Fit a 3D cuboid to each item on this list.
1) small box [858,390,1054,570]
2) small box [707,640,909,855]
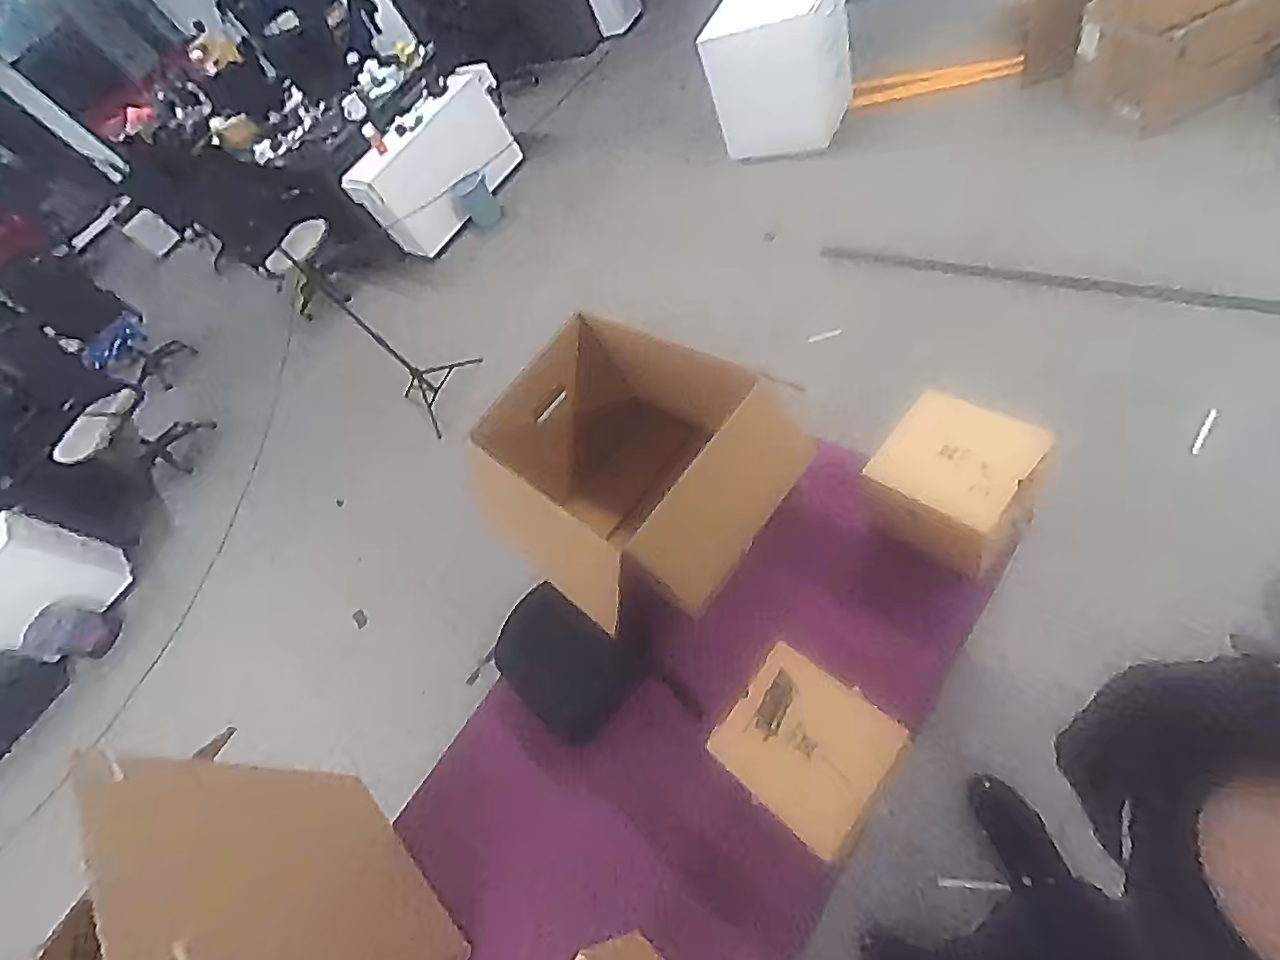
[{"bbox_3d":[0.448,0.004,0.784,0.179,0.176,0.168,35,81,38],"label":"small box"},{"bbox_3d":[0.220,0.341,0.696,0.179,0.176,0.168,32,79,37],"label":"small box"}]
